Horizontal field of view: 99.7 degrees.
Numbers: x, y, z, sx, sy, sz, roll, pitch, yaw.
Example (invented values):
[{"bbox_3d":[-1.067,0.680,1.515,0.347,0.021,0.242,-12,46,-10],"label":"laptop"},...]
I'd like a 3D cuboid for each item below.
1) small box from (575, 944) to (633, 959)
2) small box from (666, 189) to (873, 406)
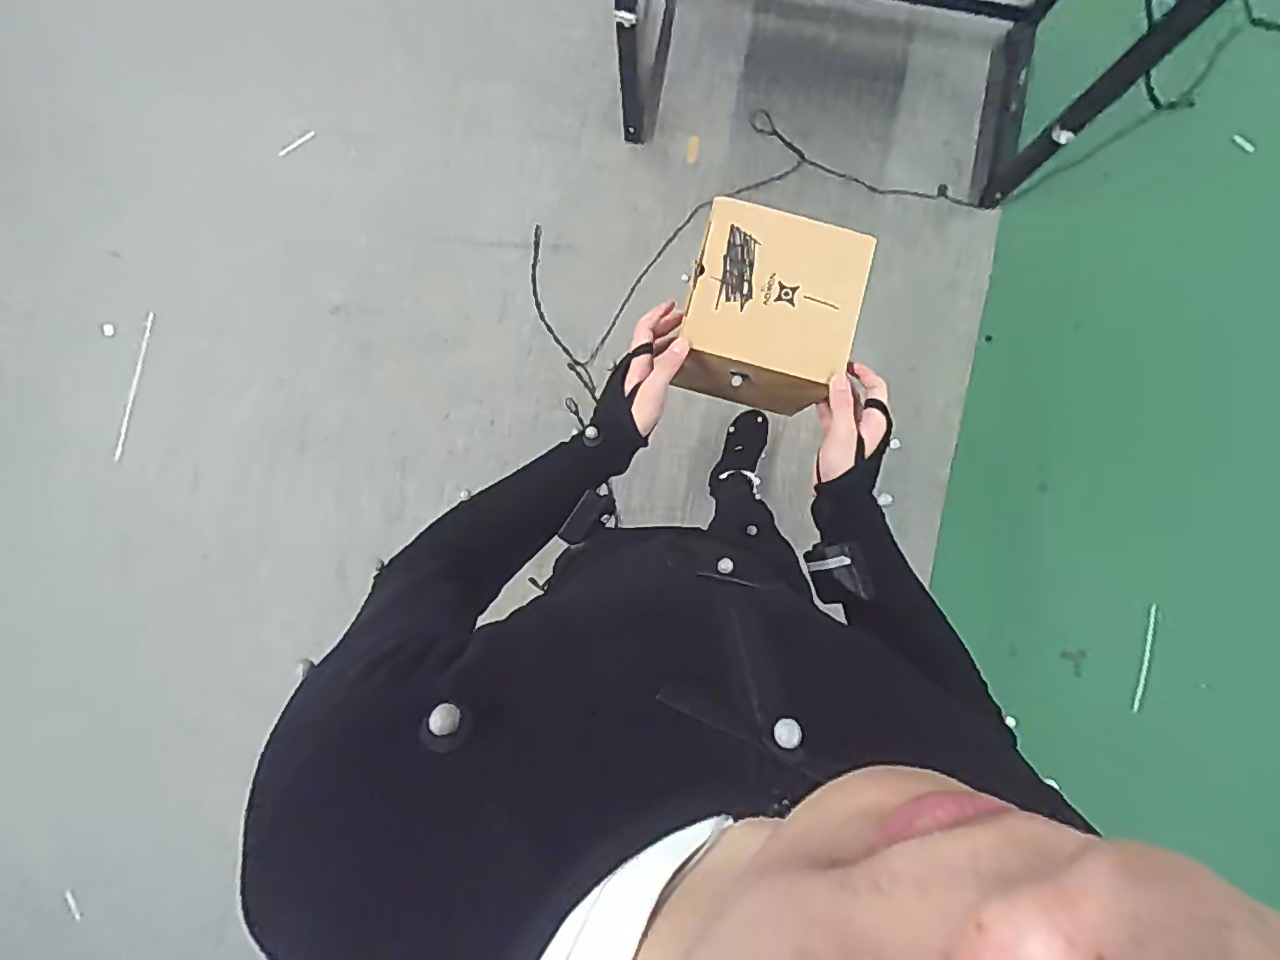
[{"bbox_3d":[-0.094,1.240,1.255,0.168,0.176,0.179,11,86,4],"label":"small box"},{"bbox_3d":[0.134,-0.194,0.627,0.179,0.176,0.168,15,86,-1],"label":"small box"}]
